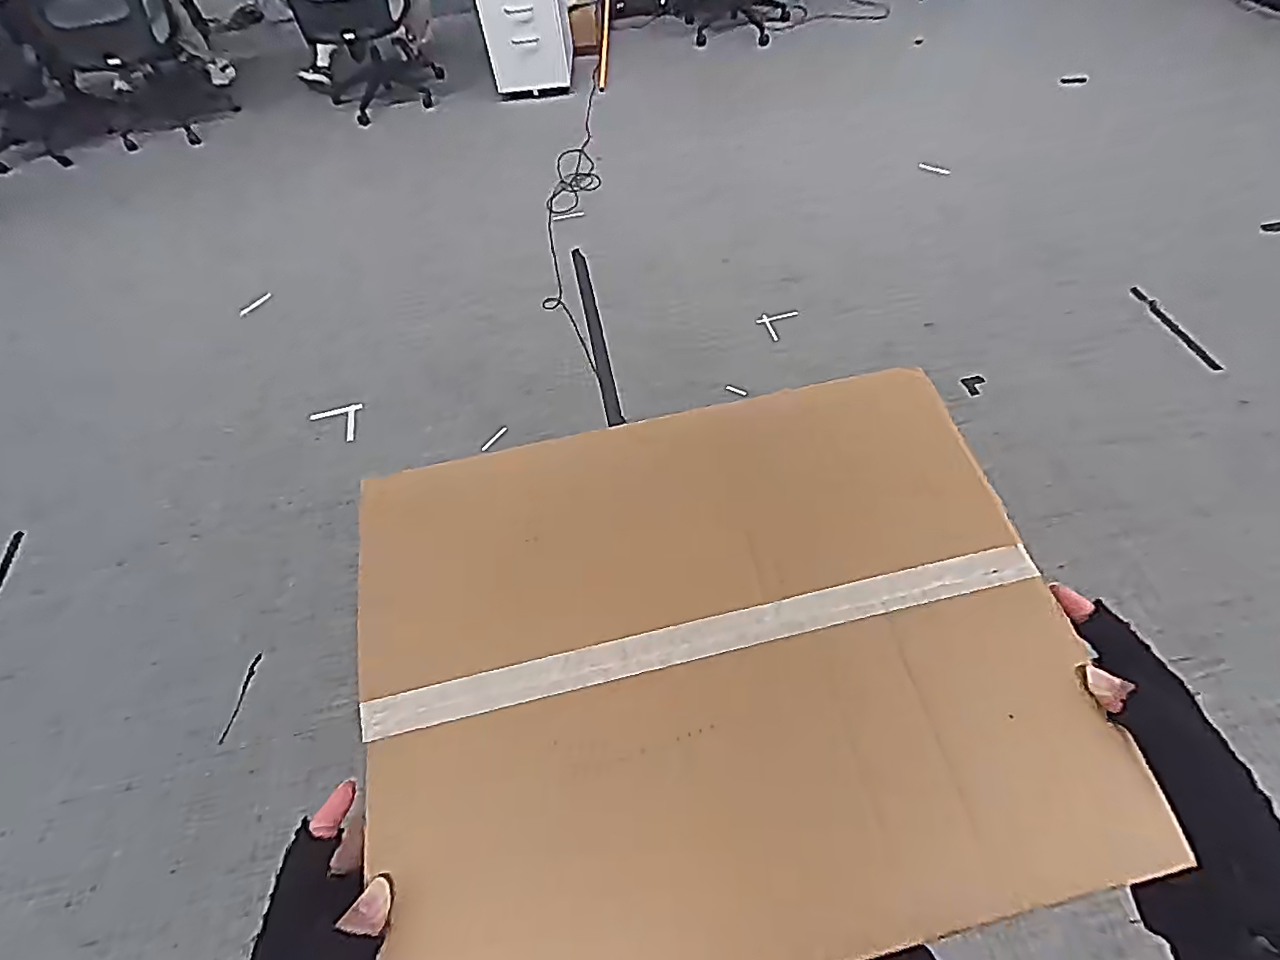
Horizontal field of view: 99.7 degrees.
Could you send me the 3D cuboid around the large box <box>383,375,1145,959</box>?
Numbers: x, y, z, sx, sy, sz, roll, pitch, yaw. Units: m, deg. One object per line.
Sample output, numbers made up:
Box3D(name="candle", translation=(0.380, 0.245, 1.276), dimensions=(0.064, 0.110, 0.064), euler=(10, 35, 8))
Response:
Box3D(name="large box", translation=(0.047, 0.161, 0.469), dimensions=(0.408, 0.320, 0.320), euler=(-13, 65, -4))
